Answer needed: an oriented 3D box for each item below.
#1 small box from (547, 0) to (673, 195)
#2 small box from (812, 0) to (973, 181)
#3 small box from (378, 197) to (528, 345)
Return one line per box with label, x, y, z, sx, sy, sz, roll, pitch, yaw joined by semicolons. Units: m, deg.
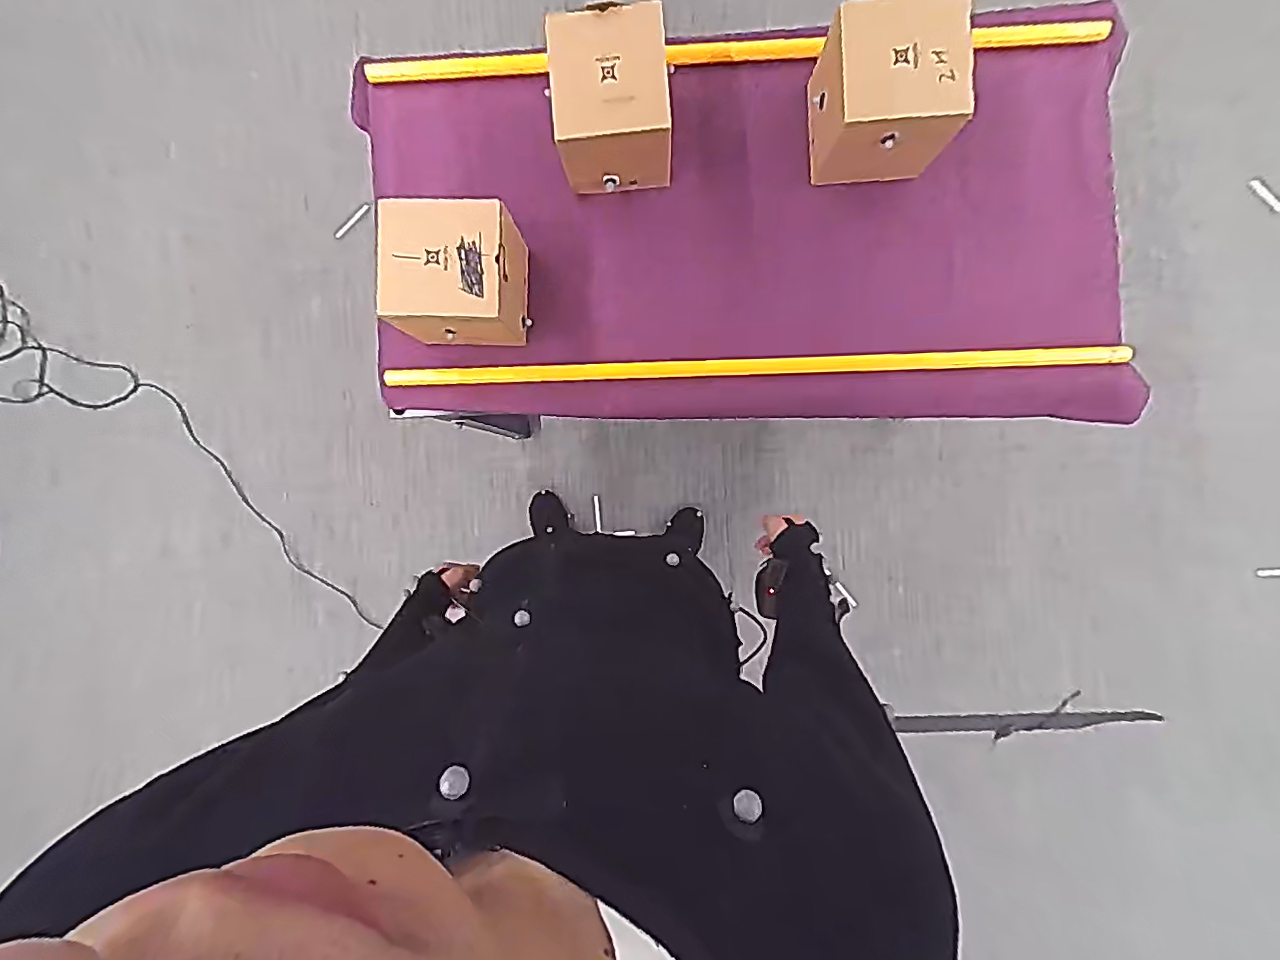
small box;-0.040;-0.567;0.822;0.168;0.176;0.179;-5;91;3
small box;0.362;-0.571;0.806;0.179;0.176;0.168;-2;92;2
small box;-0.275;-0.309;0.829;0.179;0.176;0.168;1;91;1
